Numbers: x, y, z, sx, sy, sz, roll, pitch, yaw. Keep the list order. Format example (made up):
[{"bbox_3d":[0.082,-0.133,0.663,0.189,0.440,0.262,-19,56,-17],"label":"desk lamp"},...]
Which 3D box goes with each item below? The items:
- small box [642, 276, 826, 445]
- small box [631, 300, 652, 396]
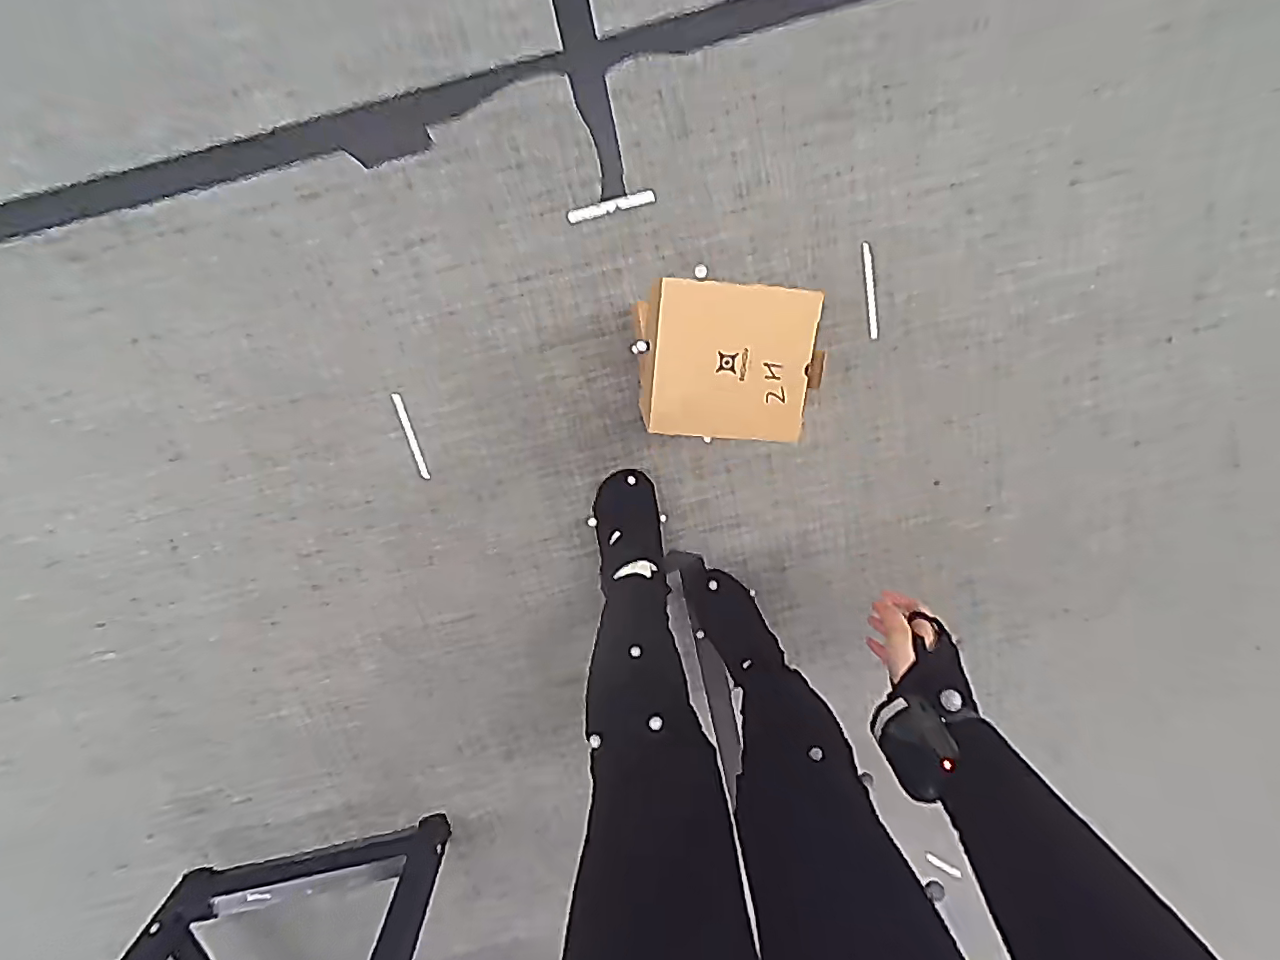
[{"bbox_3d":[0.097,-0.147,0.657,0.179,0.176,0.168,4,107,-5],"label":"small box"},{"bbox_3d":[0.087,-0.193,0.815,0.179,0.176,0.168,-9,107,-2],"label":"small box"}]
